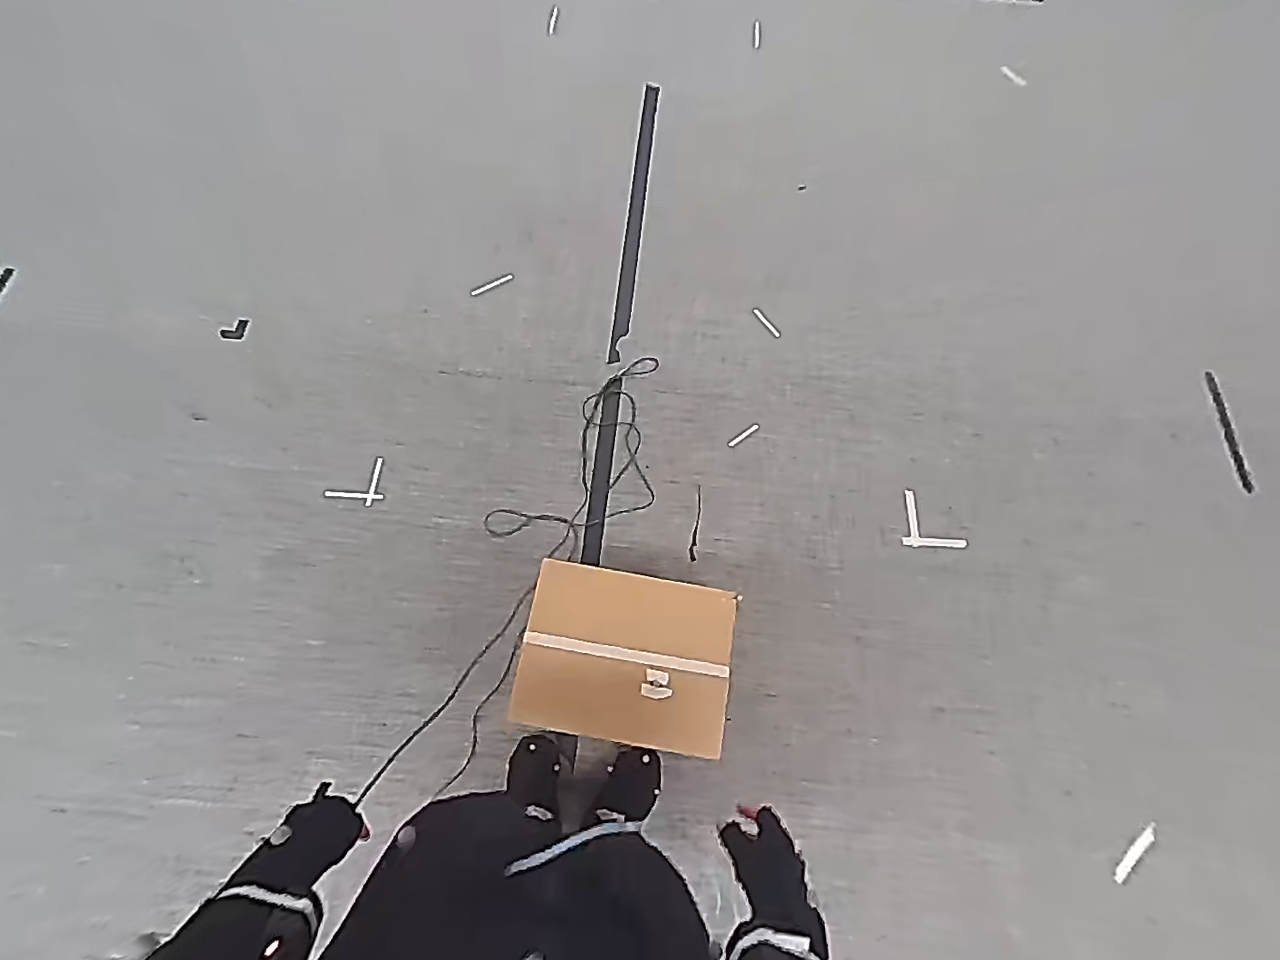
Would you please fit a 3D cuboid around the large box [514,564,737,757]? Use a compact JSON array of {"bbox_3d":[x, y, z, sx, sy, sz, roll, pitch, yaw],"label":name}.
[{"bbox_3d":[-0.029,0.397,1.201,0.408,0.320,0.320,10,71,0],"label":"large box"}]
